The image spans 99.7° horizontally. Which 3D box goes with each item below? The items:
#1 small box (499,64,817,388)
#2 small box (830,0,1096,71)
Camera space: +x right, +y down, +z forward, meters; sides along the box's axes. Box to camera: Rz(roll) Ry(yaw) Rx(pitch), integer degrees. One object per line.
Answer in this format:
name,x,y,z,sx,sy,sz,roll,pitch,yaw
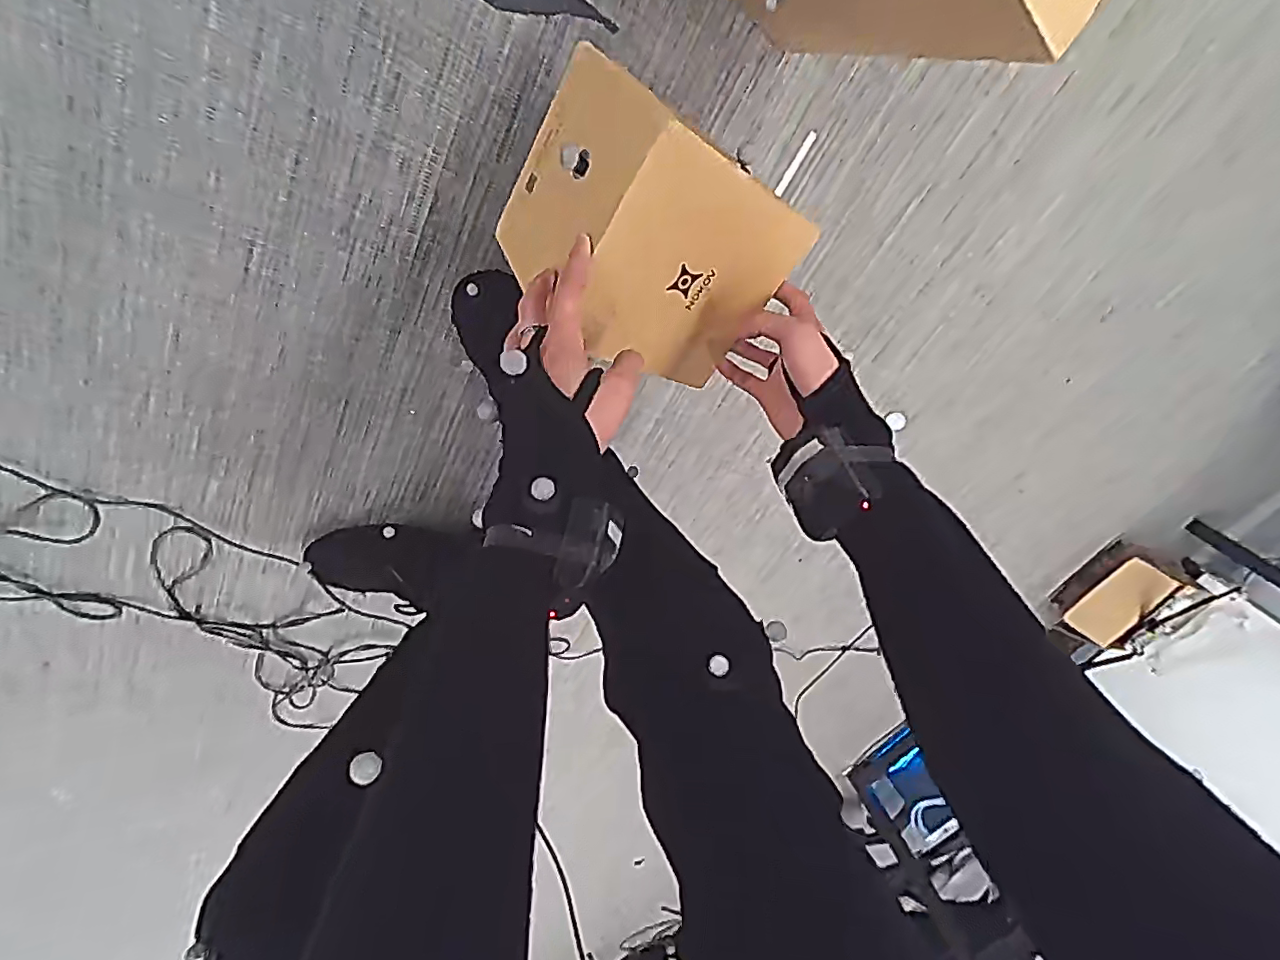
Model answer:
small box,0.003,-0.208,0.458,0.179,0.176,0.168,7,133,-41
small box,0.212,-0.400,0.335,0.179,0.176,0.168,17,117,-33
